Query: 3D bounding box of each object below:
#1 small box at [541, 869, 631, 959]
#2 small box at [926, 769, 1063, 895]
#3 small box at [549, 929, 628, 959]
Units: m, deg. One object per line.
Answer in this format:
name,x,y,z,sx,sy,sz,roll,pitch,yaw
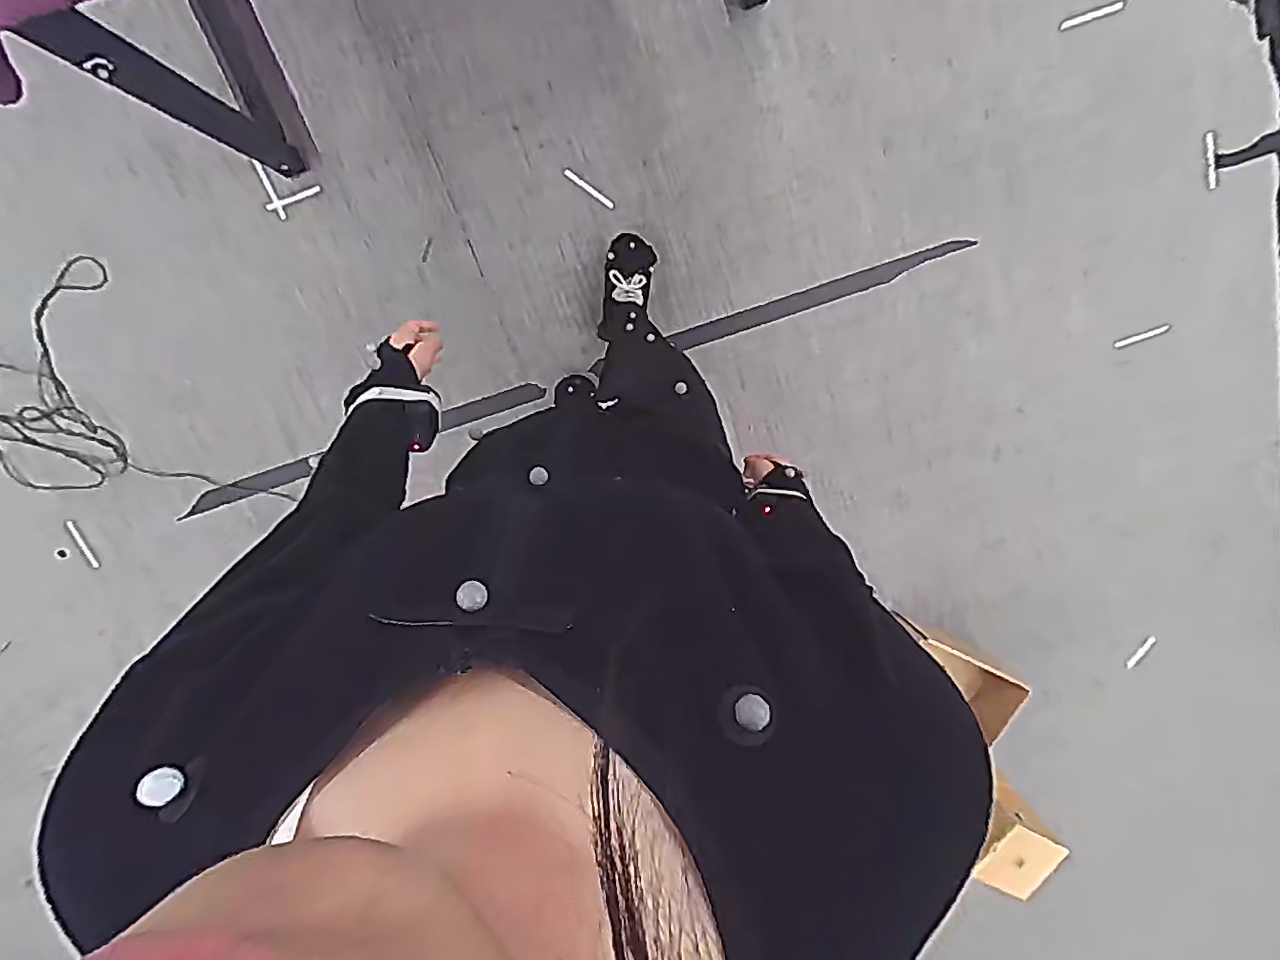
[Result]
small box,-0.140,1.146,1.376,0.168,0.176,0.179,31,100,-10
small box,0.846,0.842,1.308,0.179,0.176,0.168,29,101,-11
small box,-0.129,1.179,1.218,0.168,0.176,0.179,34,98,-12
